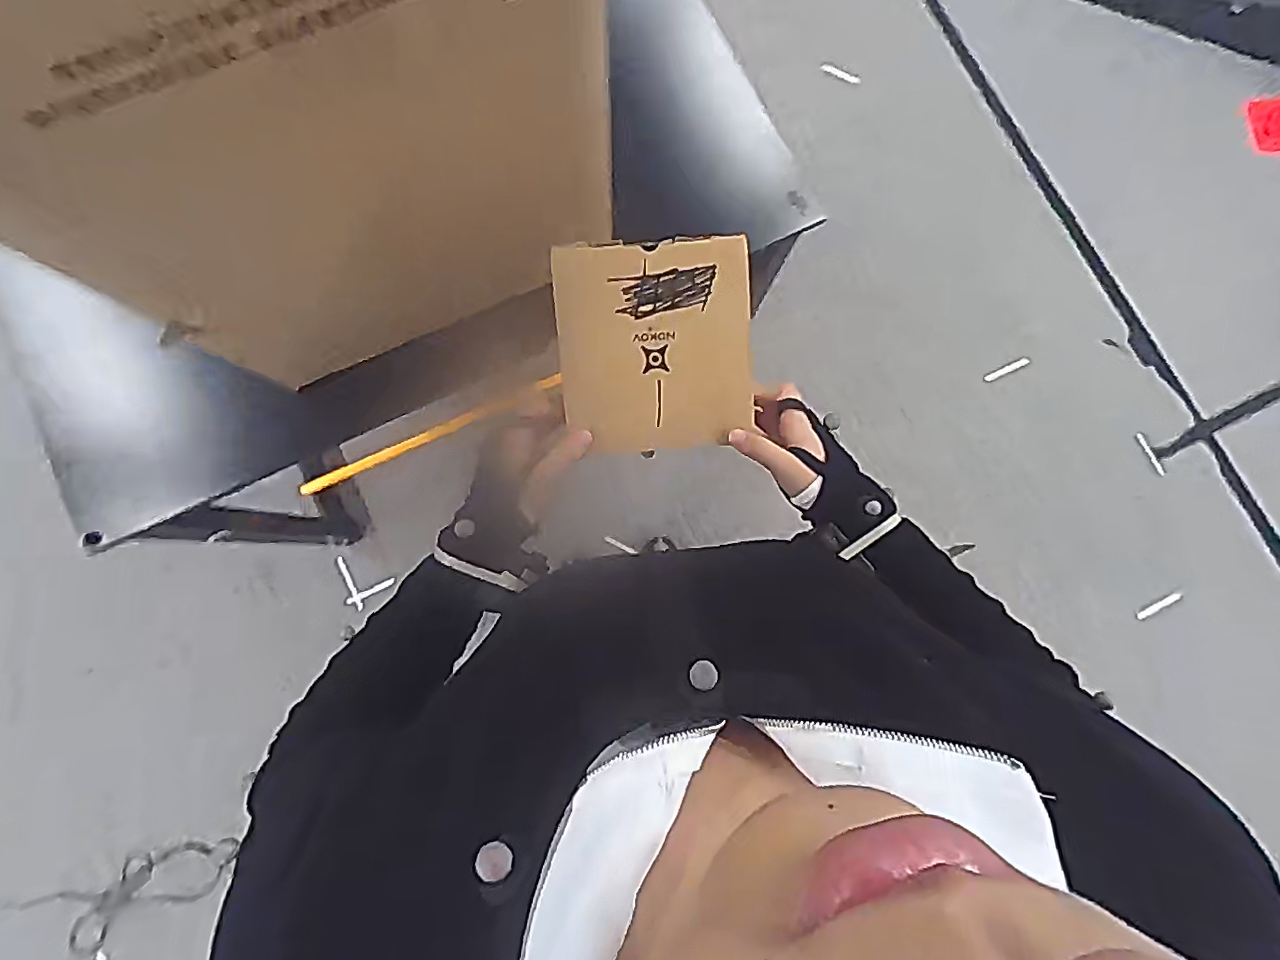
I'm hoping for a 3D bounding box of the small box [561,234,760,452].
[{"bbox_3d":[0.015,-0.124,0.534,0.168,0.176,0.179,-4,98,-2],"label":"small box"}]
